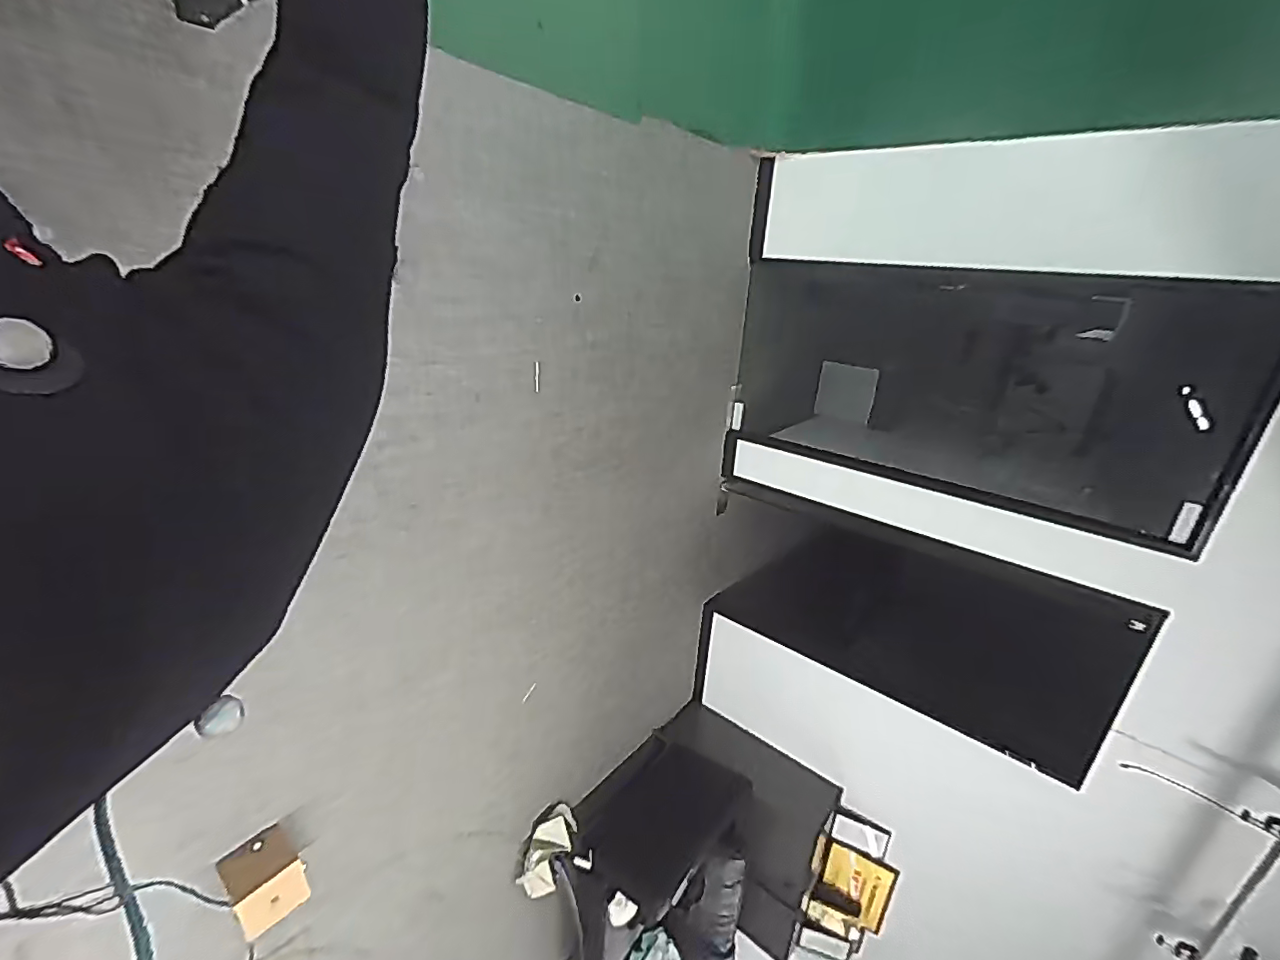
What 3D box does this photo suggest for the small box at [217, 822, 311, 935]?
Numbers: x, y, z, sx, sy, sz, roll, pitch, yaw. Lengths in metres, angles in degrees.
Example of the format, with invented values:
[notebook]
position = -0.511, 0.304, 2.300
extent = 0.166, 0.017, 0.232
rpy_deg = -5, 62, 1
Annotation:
[small box]
position = -1.109, 1.166, 1.596
extent = 0.168, 0.176, 0.179
rpy_deg = -25, 125, -47
